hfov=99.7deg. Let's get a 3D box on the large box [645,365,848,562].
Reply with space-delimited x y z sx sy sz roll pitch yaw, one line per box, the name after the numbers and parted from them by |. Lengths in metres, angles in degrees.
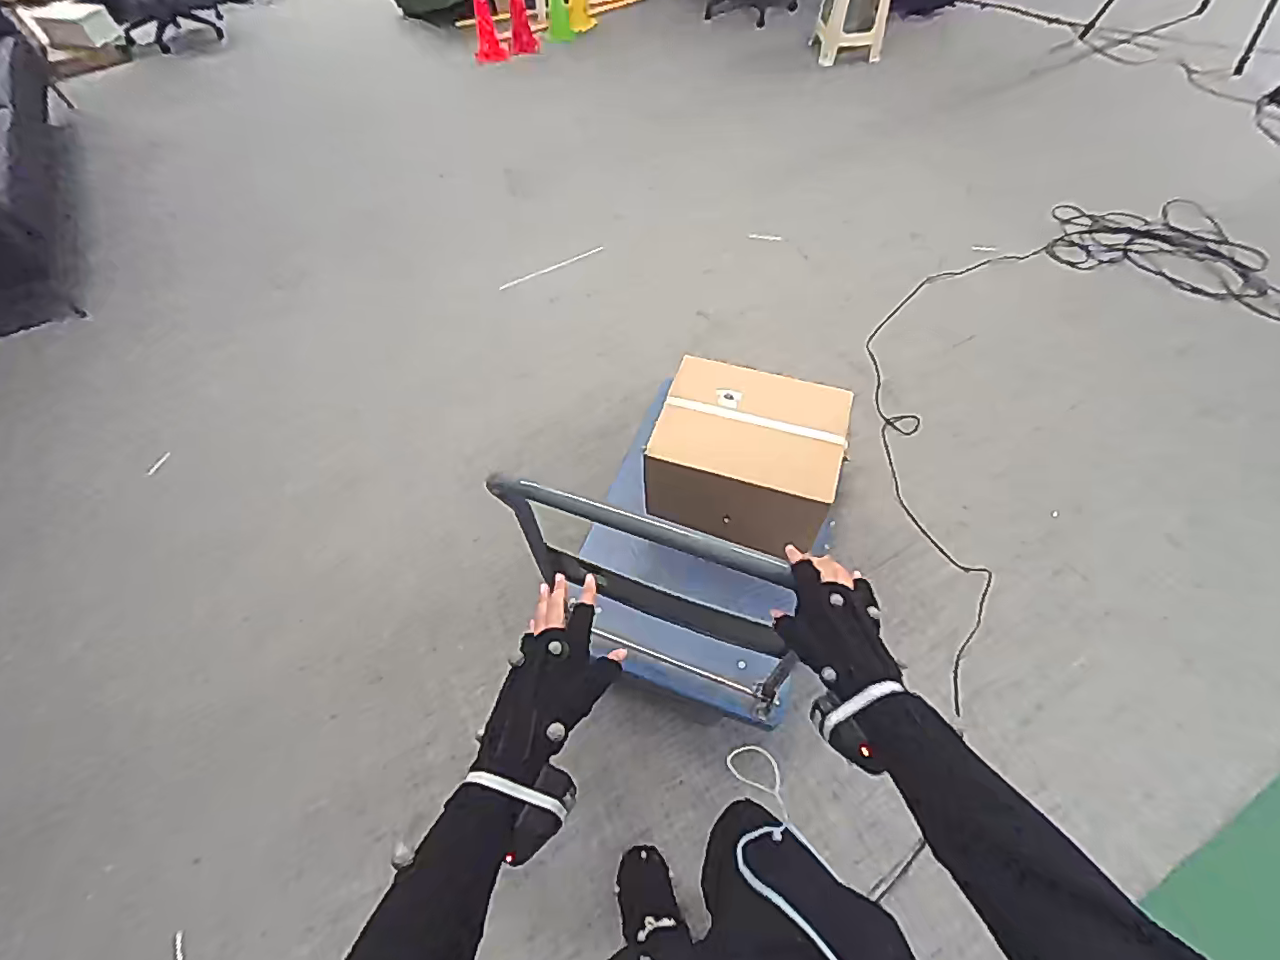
0.255 -0.036 1.331 0.408 0.320 0.320 14 59 13 | large box
